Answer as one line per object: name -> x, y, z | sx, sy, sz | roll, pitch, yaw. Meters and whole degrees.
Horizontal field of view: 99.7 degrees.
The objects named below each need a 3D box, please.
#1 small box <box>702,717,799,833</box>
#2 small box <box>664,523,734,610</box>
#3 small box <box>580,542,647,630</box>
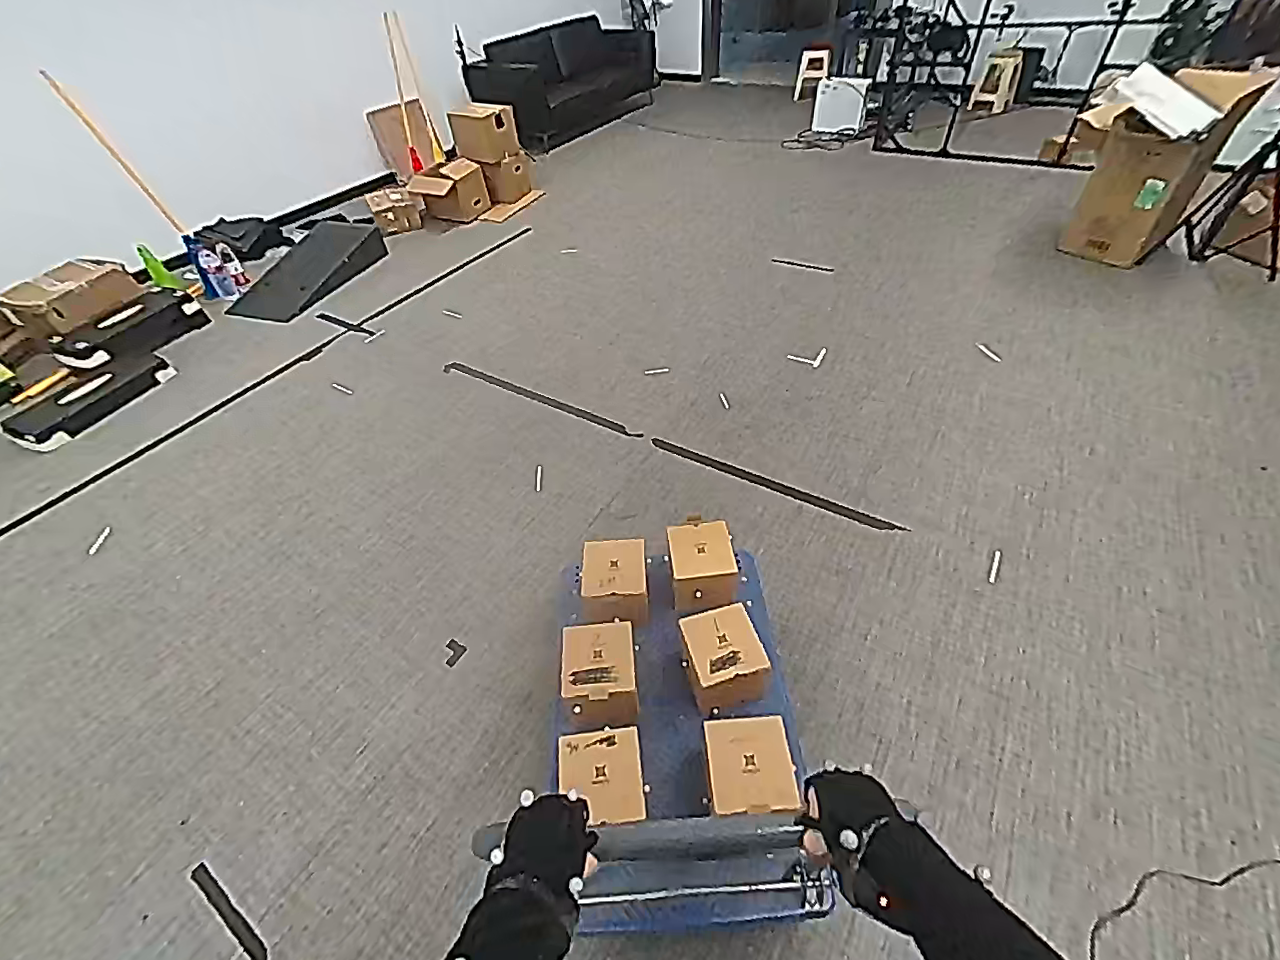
small box -> 0.222, 0.621, 1.130 | 0.168, 0.176, 0.179 | -4, 45, 0
small box -> 0.162, 0.246, 1.501 | 0.168, 0.176, 0.179 | -7, 45, -2
small box -> -0.068, 0.290, 1.474 | 0.168, 0.176, 0.179 | -4, 46, 1
